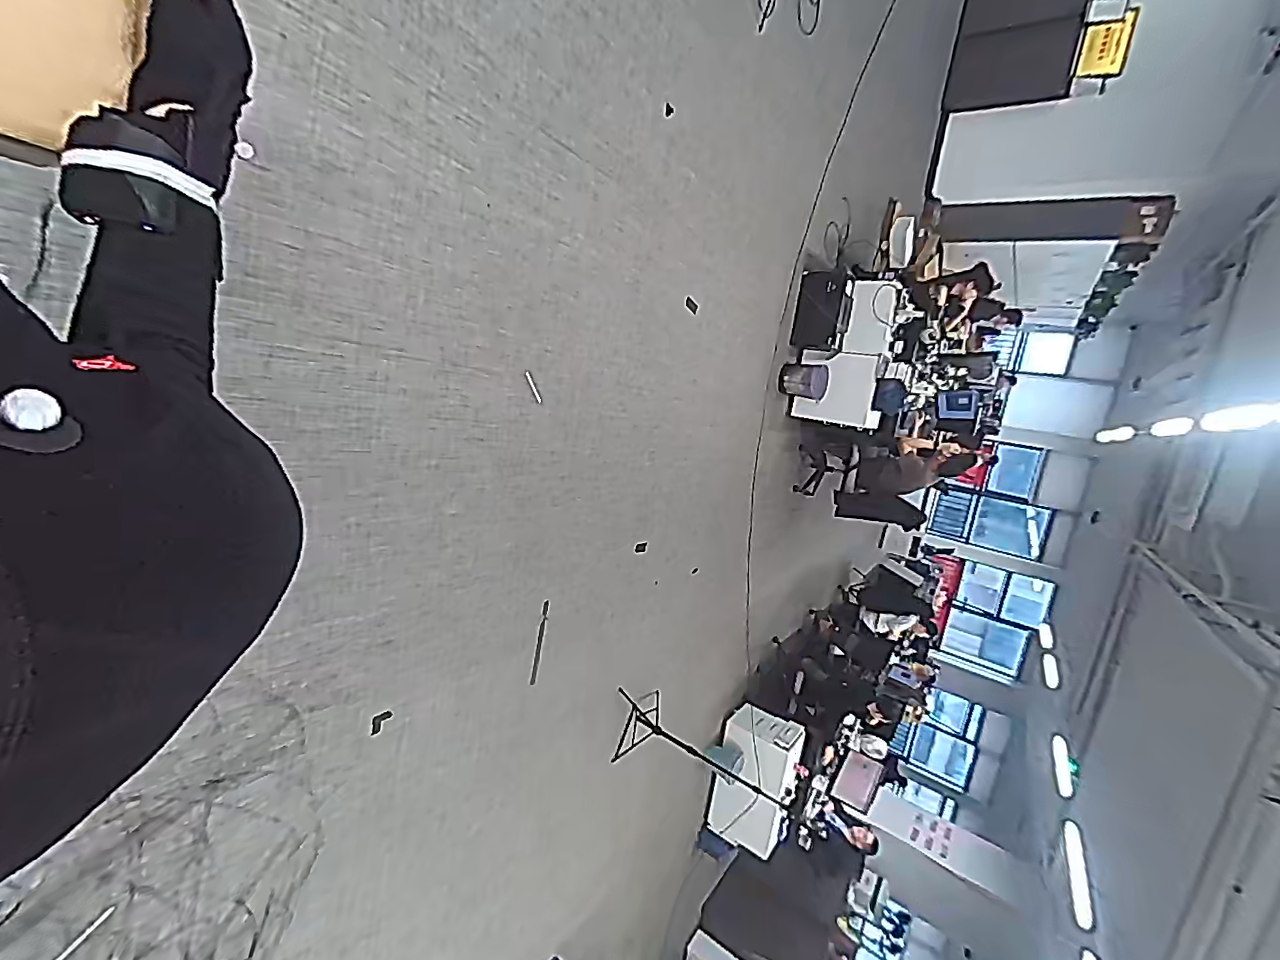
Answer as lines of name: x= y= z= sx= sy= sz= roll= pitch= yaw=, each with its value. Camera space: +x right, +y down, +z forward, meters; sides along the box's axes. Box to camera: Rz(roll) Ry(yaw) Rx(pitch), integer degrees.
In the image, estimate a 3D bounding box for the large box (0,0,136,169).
large box: x=-0.590 y=-0.425 z=0.301 sx=0.408 sy=0.320 sz=0.320 roll=-1 pitch=111 yaw=-57
